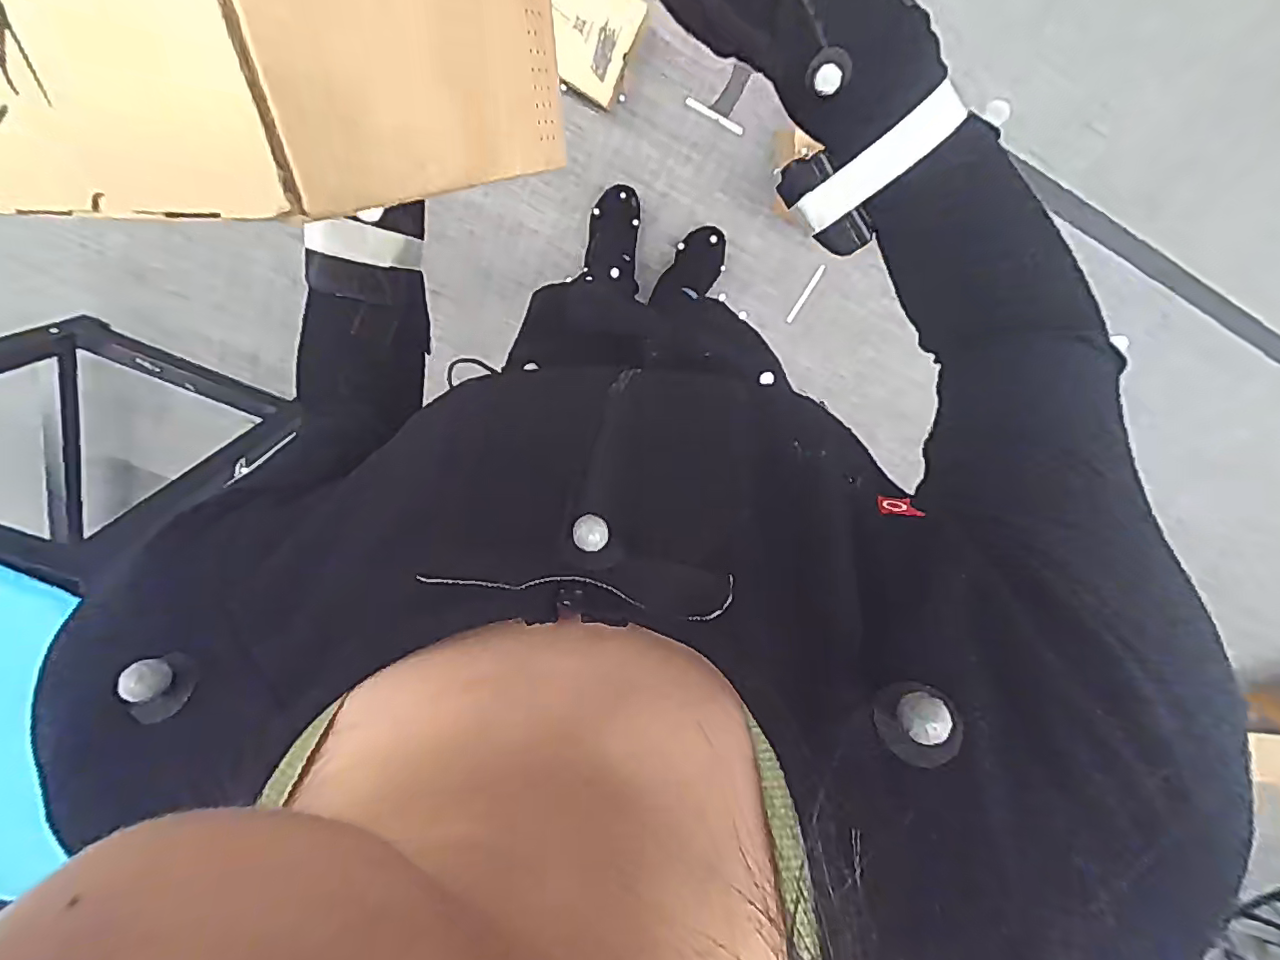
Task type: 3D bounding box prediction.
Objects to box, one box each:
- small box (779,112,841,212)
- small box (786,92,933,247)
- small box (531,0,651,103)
[{"bbox_3d":[0.390,-0.659,1.122,0.179,0.176,0.168,-6,121,4],"label":"small box"},{"bbox_3d":[0.387,-0.561,0.988,0.179,0.176,0.168,-36,116,20],"label":"small box"},{"bbox_3d":[-0.091,-0.843,1.018,0.179,0.176,0.168,26,118,-13],"label":"small box"}]
